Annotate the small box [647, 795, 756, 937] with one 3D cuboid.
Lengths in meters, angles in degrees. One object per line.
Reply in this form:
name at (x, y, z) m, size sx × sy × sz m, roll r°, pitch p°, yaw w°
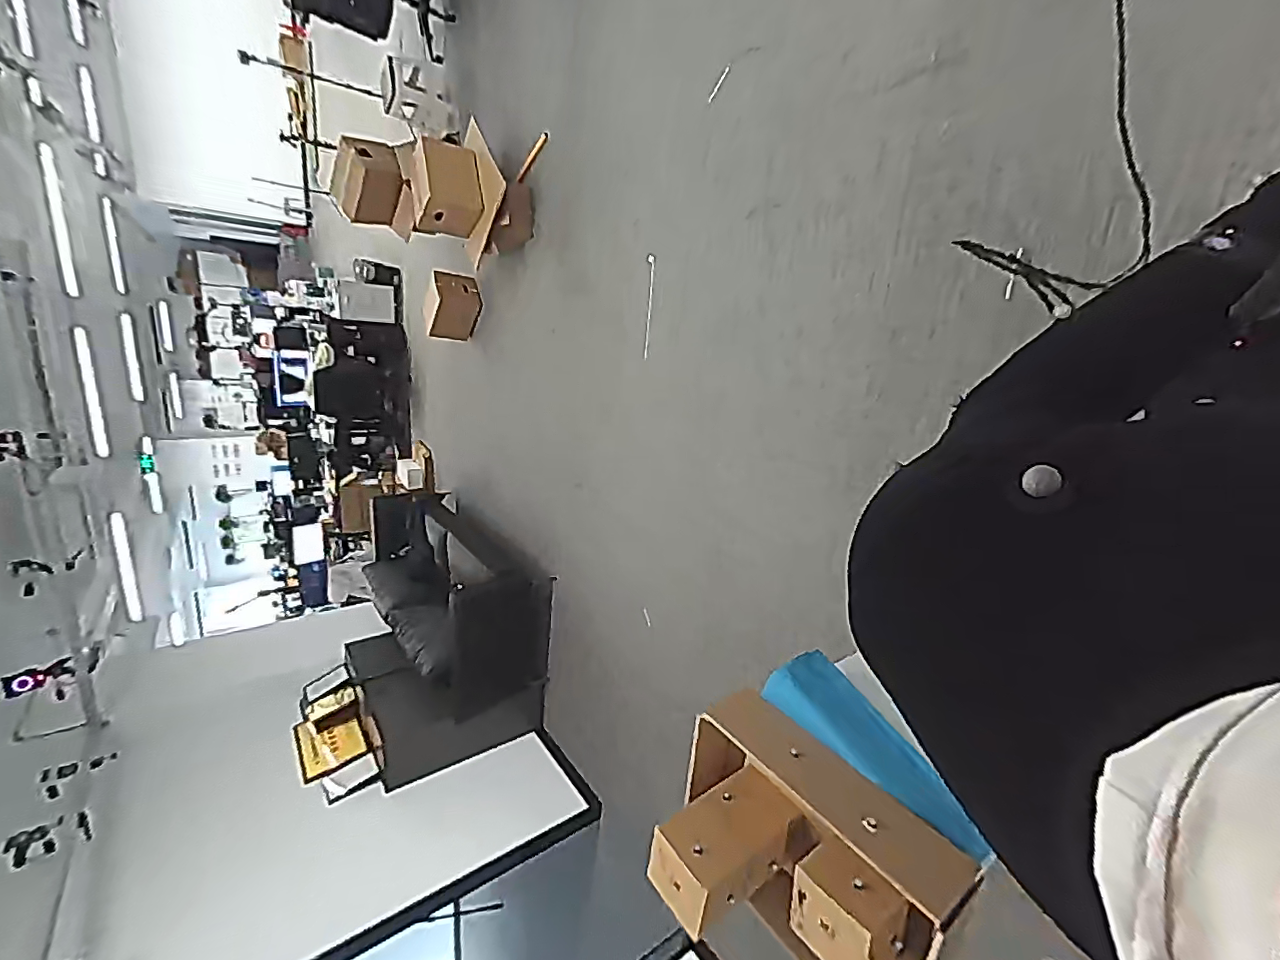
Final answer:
small box at (0.142, 0.876, 1.248) m, size 0.179 × 0.176 × 0.168 m, roll 31°, pitch 120°, yaw 47°
